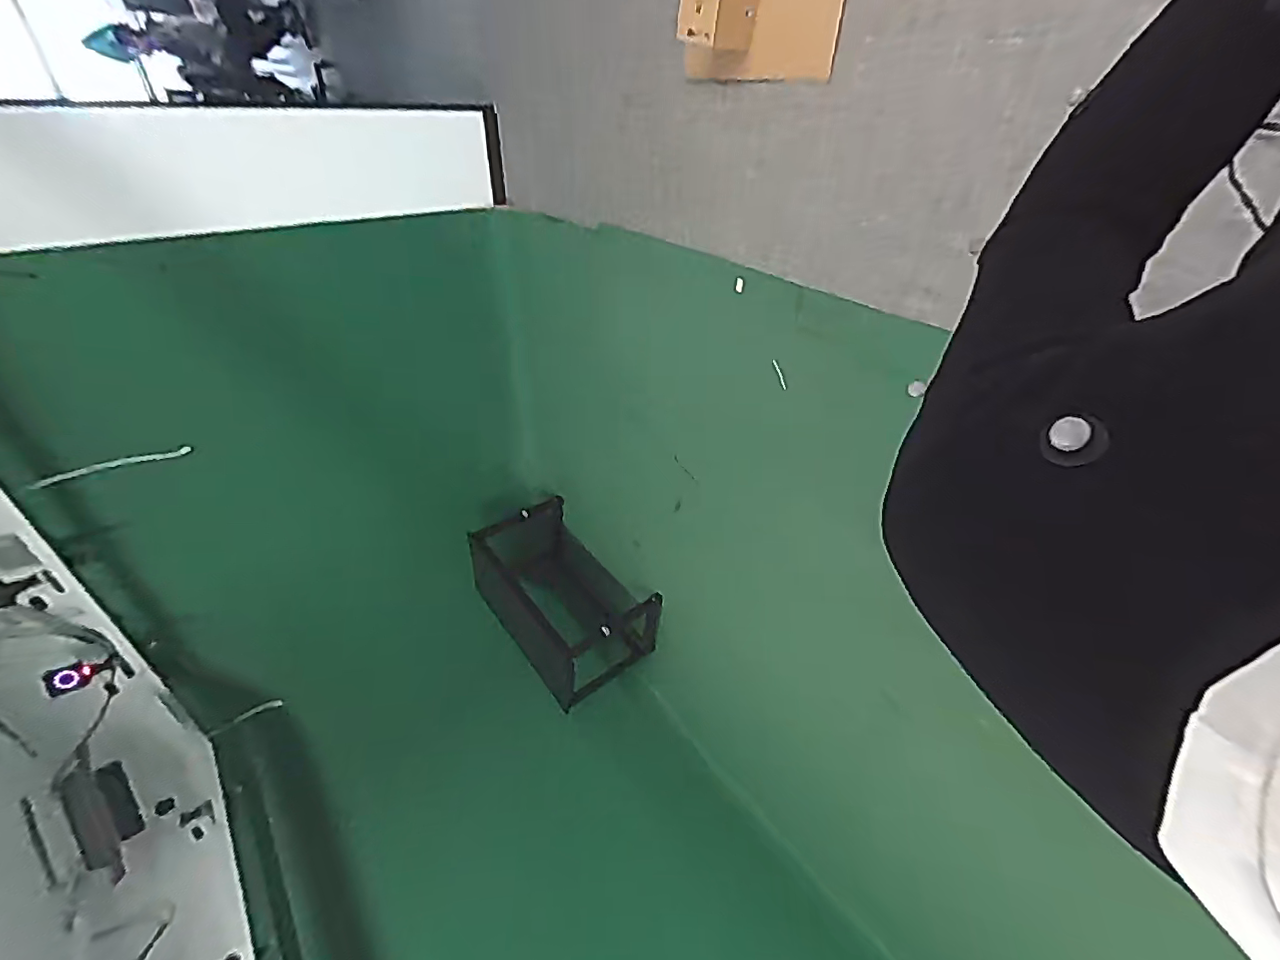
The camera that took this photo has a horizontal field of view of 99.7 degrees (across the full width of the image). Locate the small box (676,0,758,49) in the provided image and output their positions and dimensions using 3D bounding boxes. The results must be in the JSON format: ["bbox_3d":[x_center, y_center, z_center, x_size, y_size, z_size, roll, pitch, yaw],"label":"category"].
[{"bbox_3d":[0.237,-1.428,1.626,0.168,0.176,0.179,43,141,31],"label":"small box"}]
